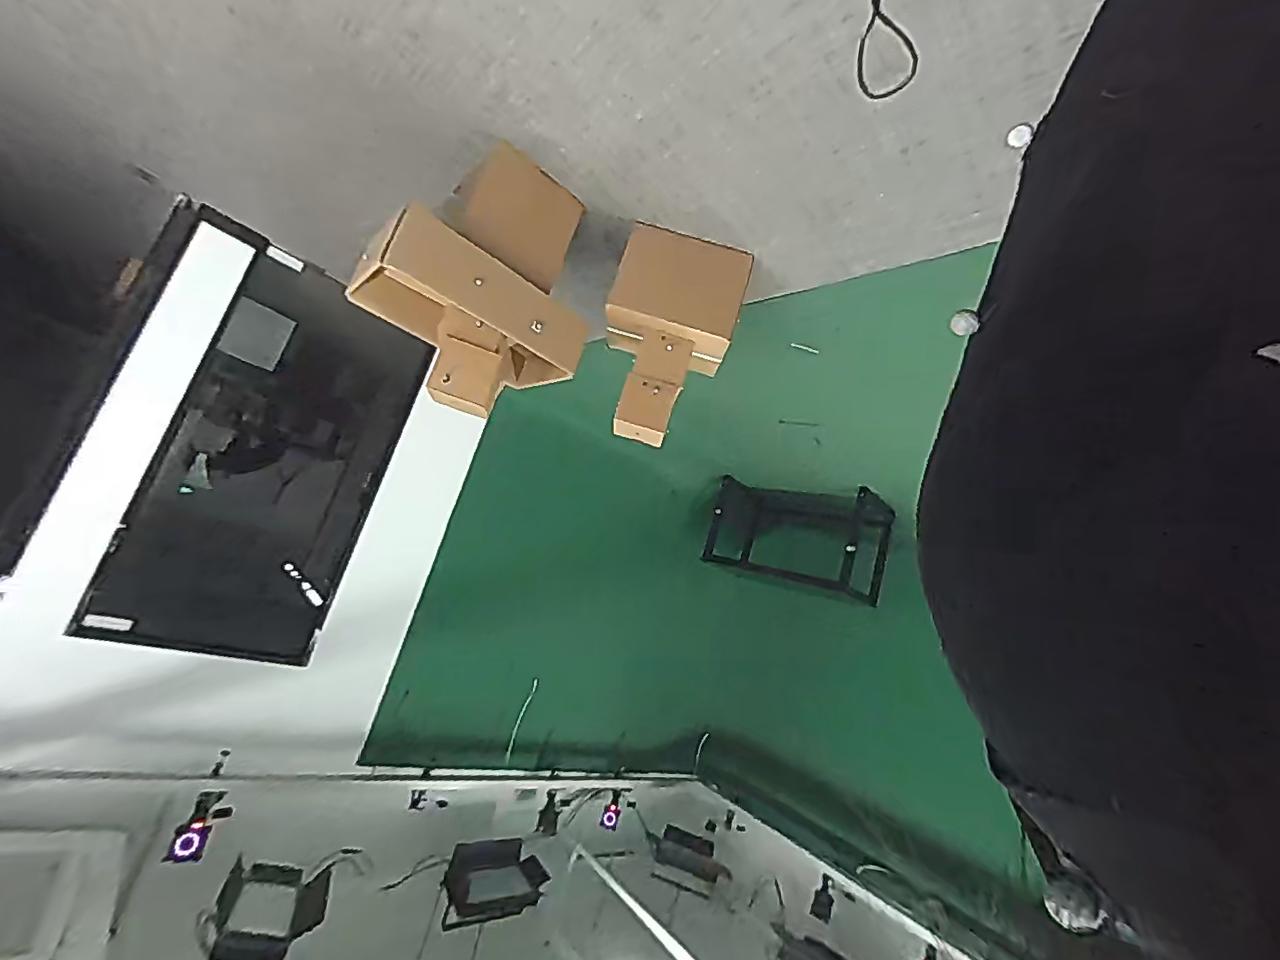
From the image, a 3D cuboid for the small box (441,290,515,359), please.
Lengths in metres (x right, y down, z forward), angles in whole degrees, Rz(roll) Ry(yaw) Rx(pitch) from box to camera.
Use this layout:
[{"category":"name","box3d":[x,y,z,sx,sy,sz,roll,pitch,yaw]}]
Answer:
[{"category":"small box","box3d":[-0.496,-0.463,1.683,0.179,0.176,0.168,19,167,-8]}]

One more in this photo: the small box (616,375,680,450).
[{"category":"small box","box3d":[0.025,-0.218,1.758,0.168,0.176,0.179,17,168,1]}]

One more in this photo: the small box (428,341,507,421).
[{"category":"small box","box3d":[-0.519,-0.302,1.647,0.179,0.176,0.168,19,169,-10]}]

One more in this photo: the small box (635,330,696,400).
[{"category":"small box","box3d":[0.077,-0.368,1.796,0.168,0.176,0.179,18,168,-2]}]
